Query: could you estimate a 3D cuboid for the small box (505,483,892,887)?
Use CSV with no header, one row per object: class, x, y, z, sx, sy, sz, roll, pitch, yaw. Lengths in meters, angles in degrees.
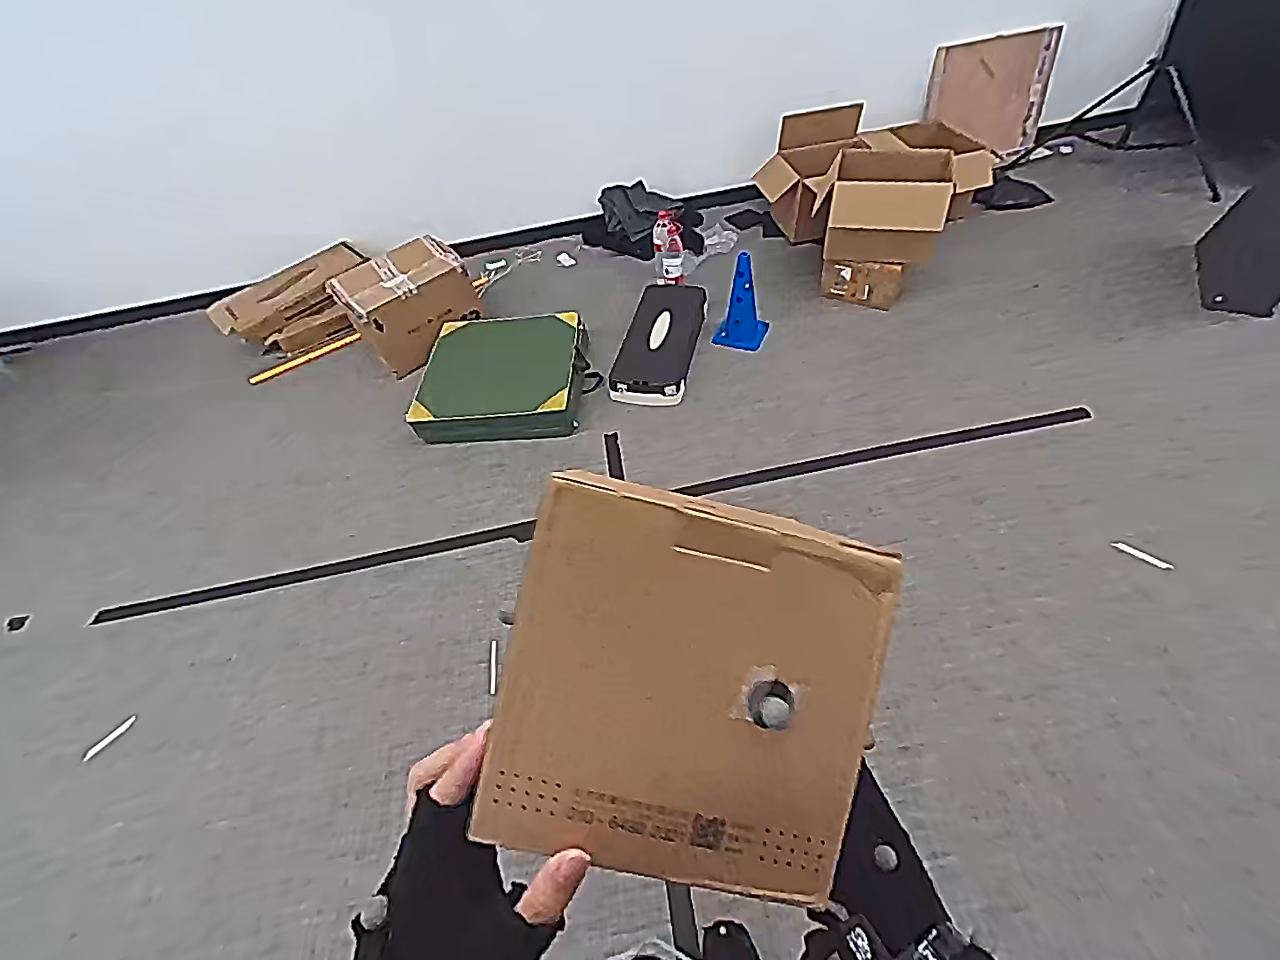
small box,0.024,0.104,0.341,0.168,0.179,0.176,14,91,-2
